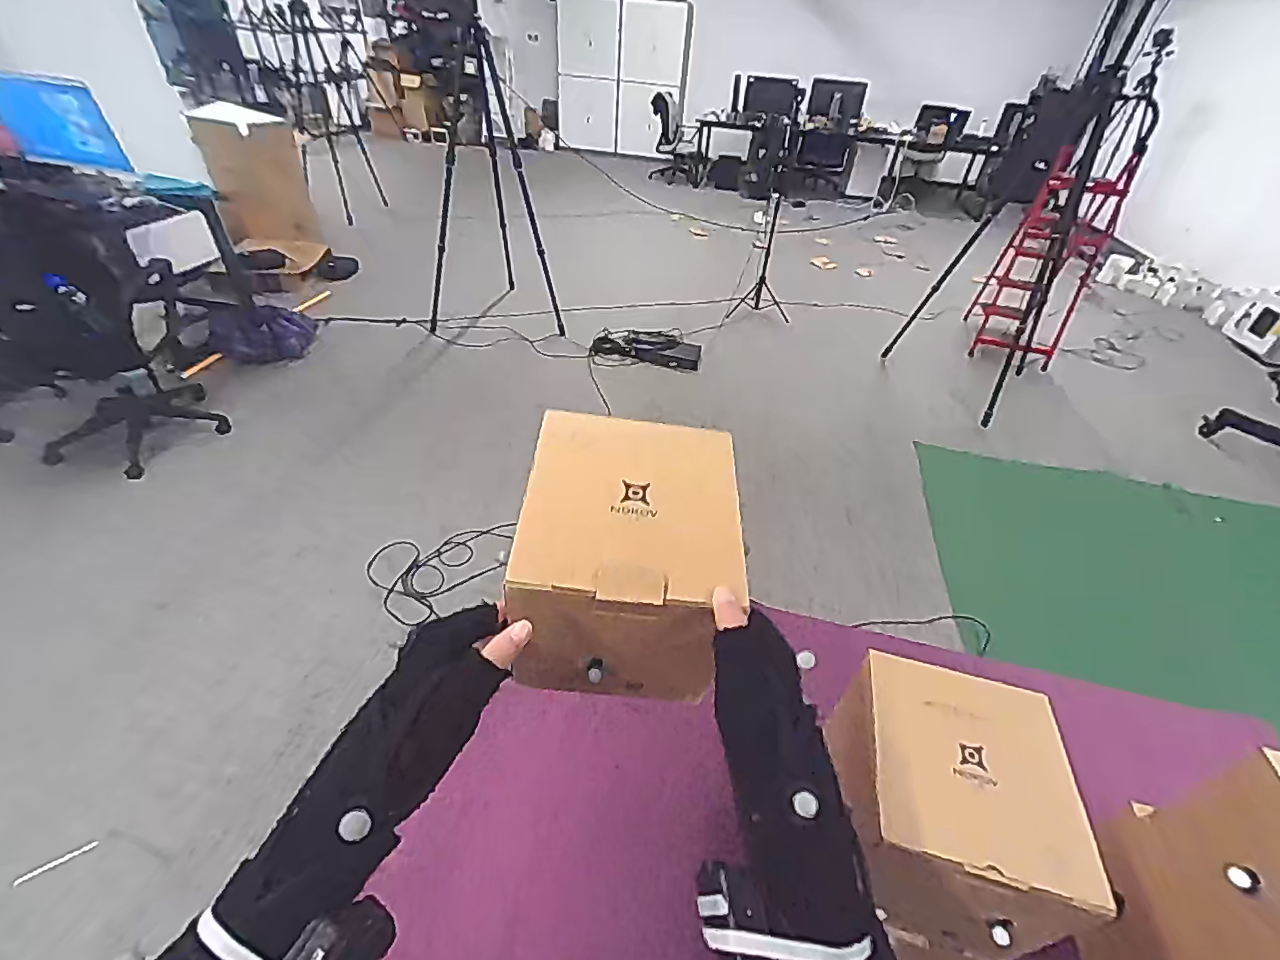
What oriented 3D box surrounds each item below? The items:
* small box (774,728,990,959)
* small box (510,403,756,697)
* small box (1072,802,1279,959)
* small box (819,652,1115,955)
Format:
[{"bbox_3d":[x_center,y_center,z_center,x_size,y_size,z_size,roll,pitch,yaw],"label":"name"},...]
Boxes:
[{"bbox_3d":[0.255,0.424,0.610,0.168,0.176,0.179,14,41,10],"label":"small box"},{"bbox_3d":[-0.012,0.063,0.462,0.168,0.176,0.179,7,49,-5],"label":"small box"},{"bbox_3d":[0.589,0.486,0.568,0.168,0.176,0.179,16,42,10],"label":"small box"},{"bbox_3d":[0.274,0.299,0.505,0.168,0.176,0.179,14,41,9],"label":"small box"}]
